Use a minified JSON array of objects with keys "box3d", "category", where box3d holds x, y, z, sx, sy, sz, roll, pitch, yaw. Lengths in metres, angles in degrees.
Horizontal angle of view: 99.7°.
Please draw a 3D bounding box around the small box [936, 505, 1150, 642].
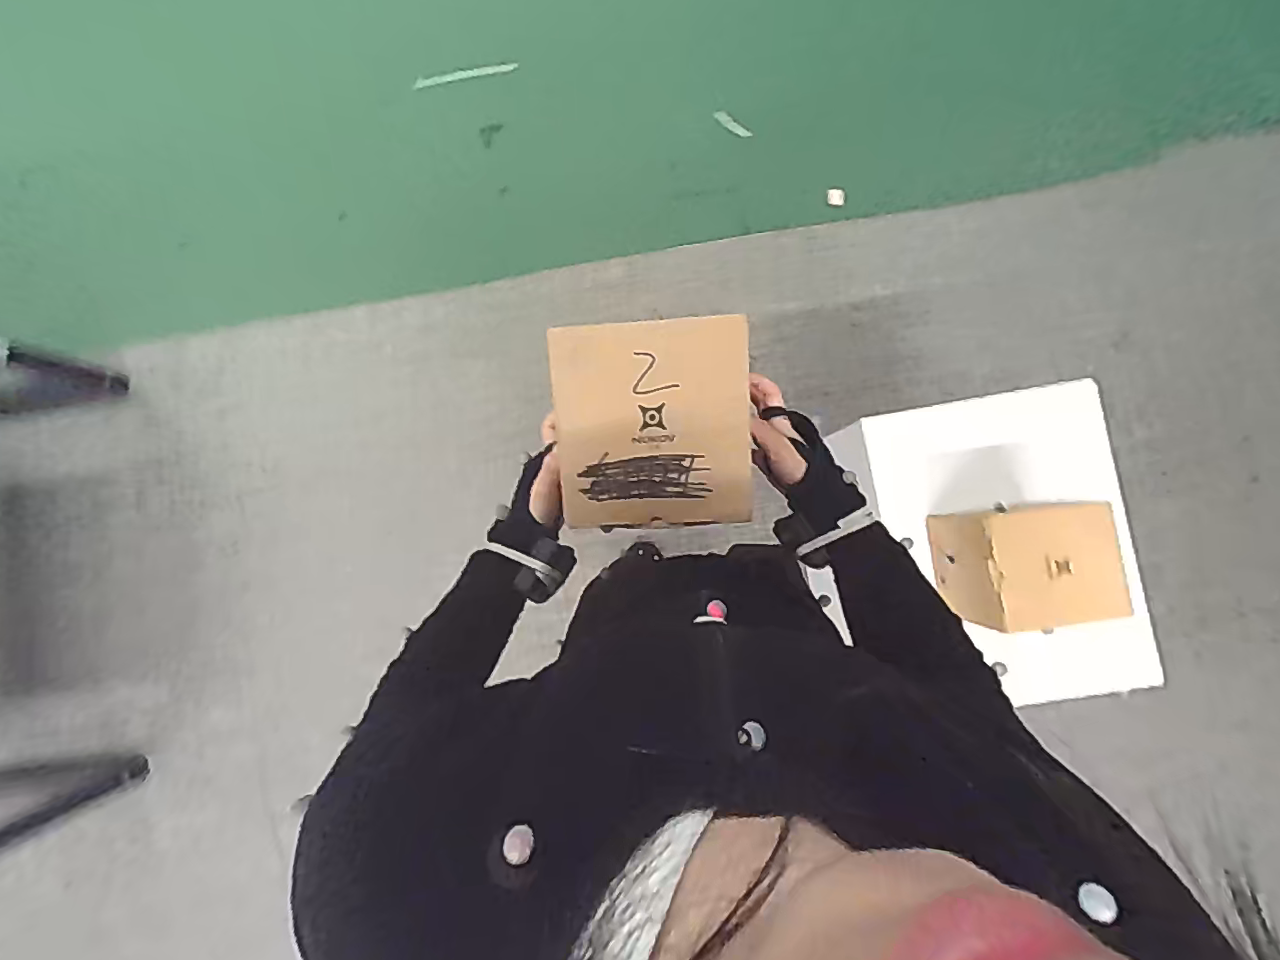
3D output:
[{"box3d":[0.573,0.128,0.792,0.179,0.176,0.168,-8,85,1],"category":"small box"}]
